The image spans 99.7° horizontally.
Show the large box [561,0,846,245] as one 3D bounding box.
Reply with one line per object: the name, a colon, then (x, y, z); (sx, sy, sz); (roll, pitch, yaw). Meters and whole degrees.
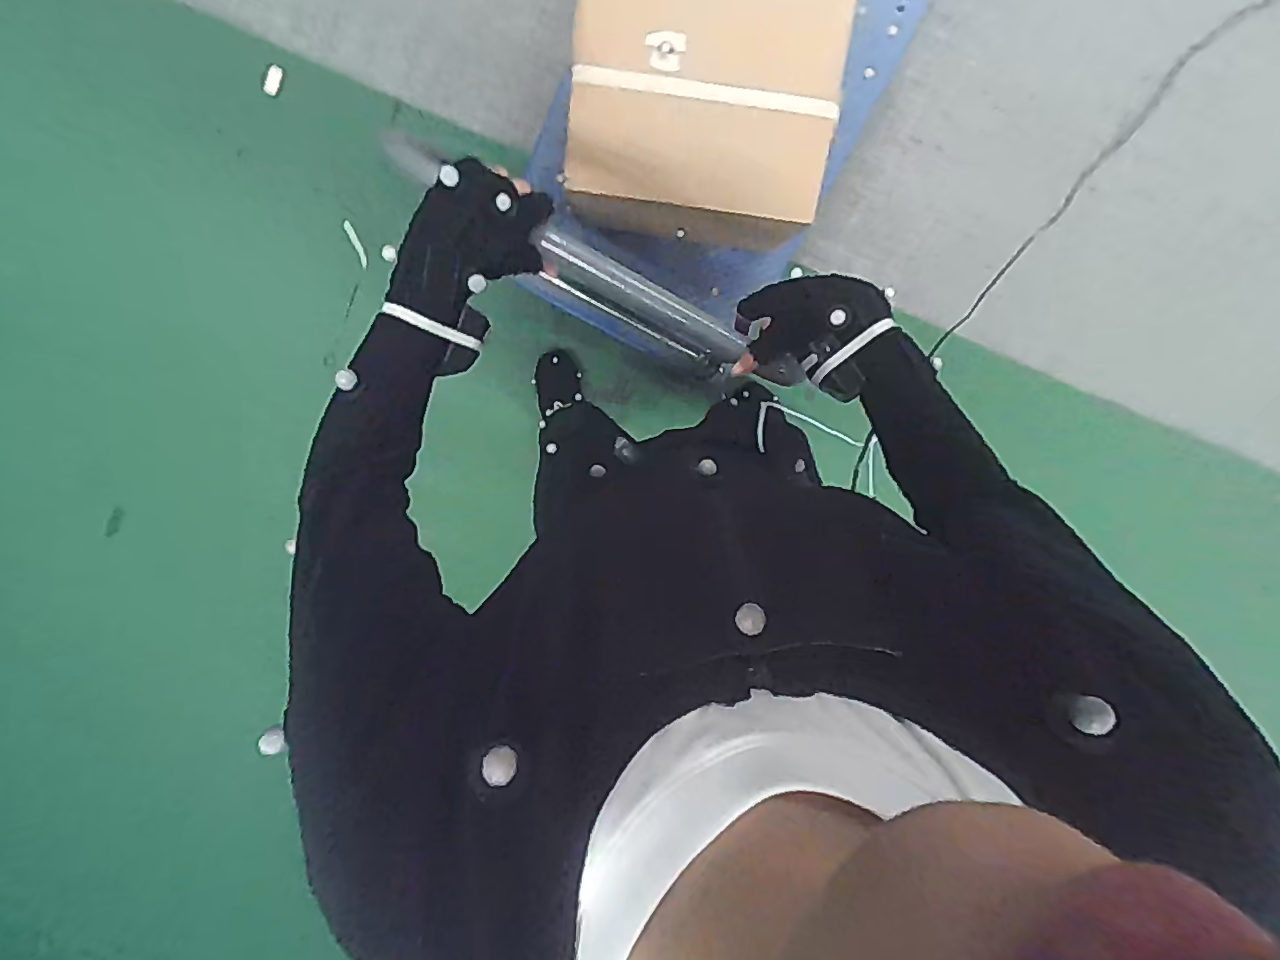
large box: (0.091, -0.621, 0.962); (0.408, 0.320, 0.320); (7, 105, -1)
